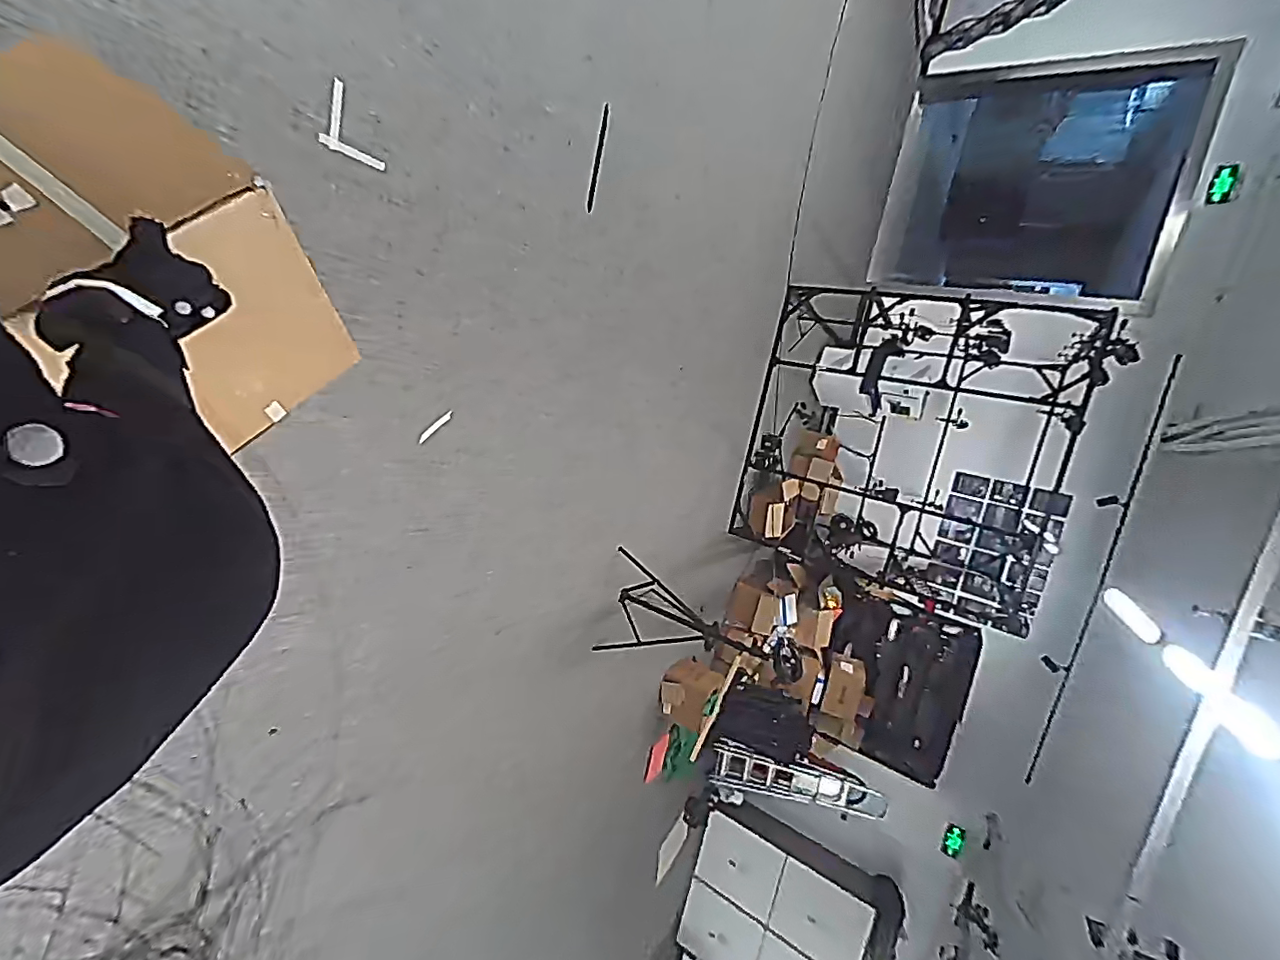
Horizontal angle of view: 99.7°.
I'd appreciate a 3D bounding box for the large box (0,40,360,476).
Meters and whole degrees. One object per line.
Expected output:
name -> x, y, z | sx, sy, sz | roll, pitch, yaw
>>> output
large box -> -0.682, -0.279, 0.726 | 0.320, 0.408, 0.320 | -50, 170, -23
